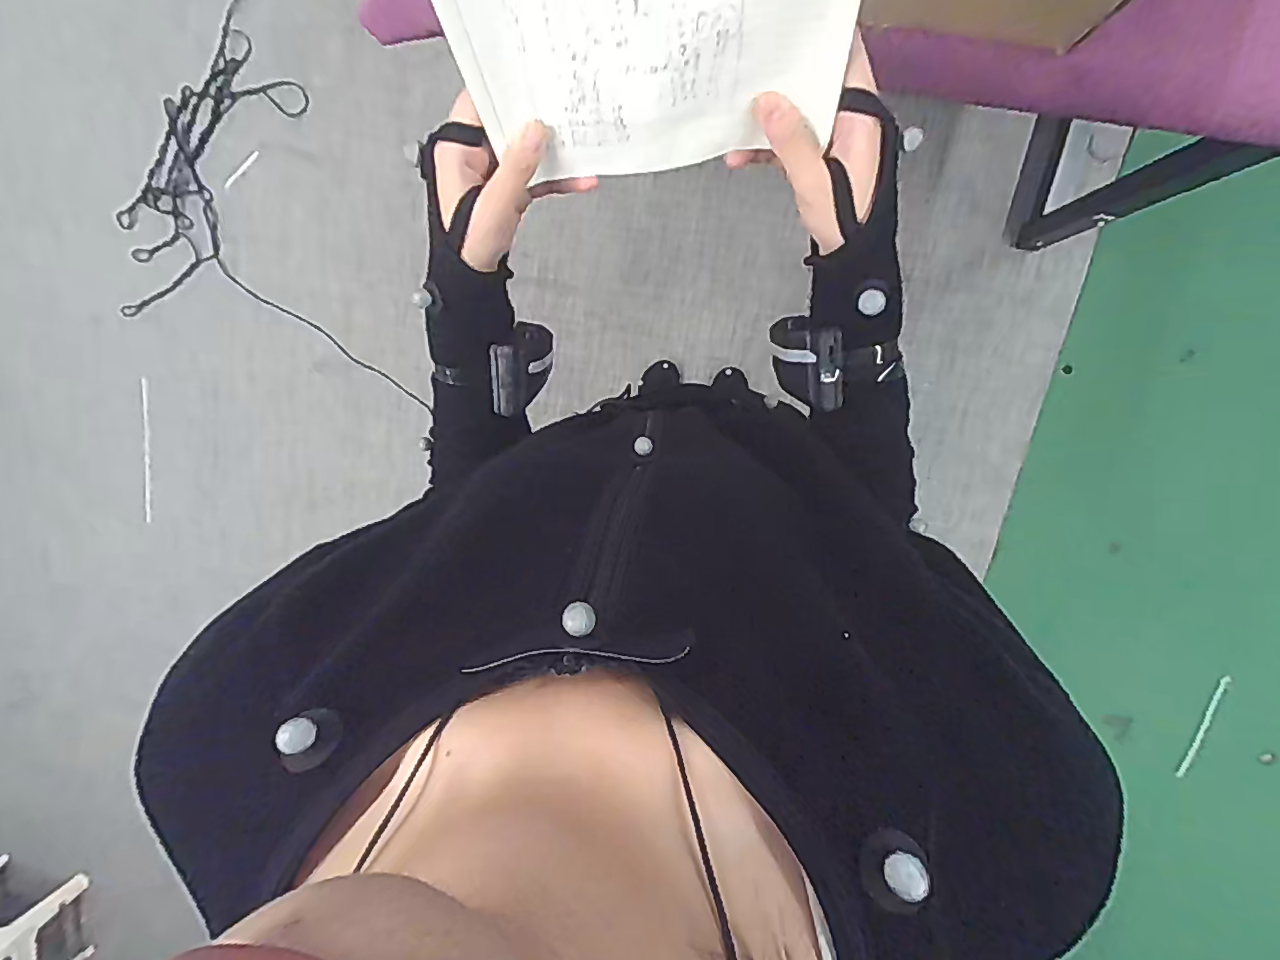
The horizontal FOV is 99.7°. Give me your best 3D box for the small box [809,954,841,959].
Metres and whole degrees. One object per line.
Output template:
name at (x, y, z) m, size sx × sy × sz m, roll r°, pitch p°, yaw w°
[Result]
small box at (0.495, 1.298, 1.298) m, size 0.168 × 0.176 × 0.179 m, roll 3°, pitch 100°, yaw 7°
